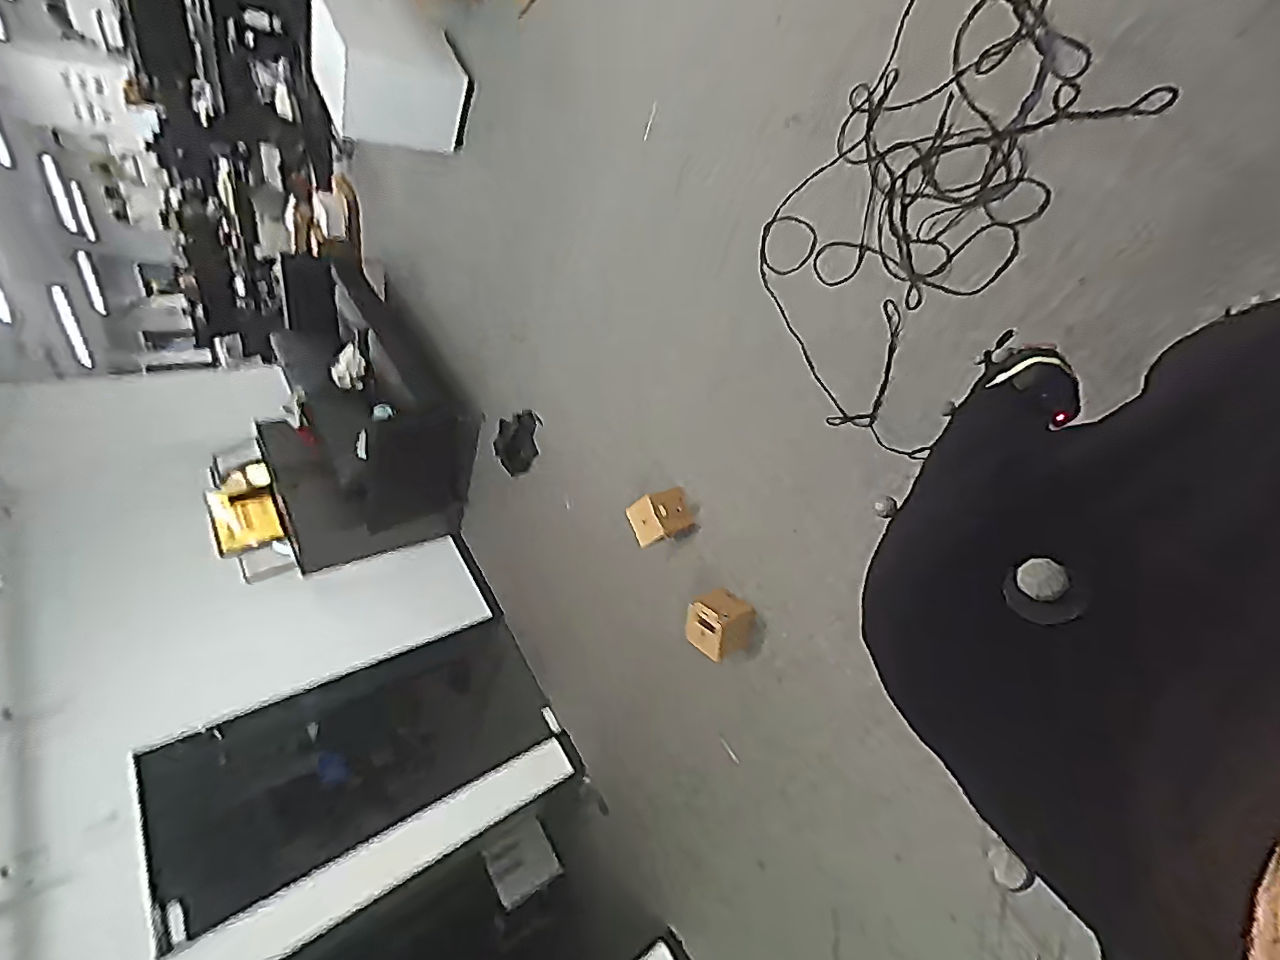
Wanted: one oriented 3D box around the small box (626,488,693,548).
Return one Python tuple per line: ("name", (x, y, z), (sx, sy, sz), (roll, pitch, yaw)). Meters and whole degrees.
("small box", (0.078, 0.149, 2.135), (0.179, 0.176, 0.168), (-40, 69, 50))
